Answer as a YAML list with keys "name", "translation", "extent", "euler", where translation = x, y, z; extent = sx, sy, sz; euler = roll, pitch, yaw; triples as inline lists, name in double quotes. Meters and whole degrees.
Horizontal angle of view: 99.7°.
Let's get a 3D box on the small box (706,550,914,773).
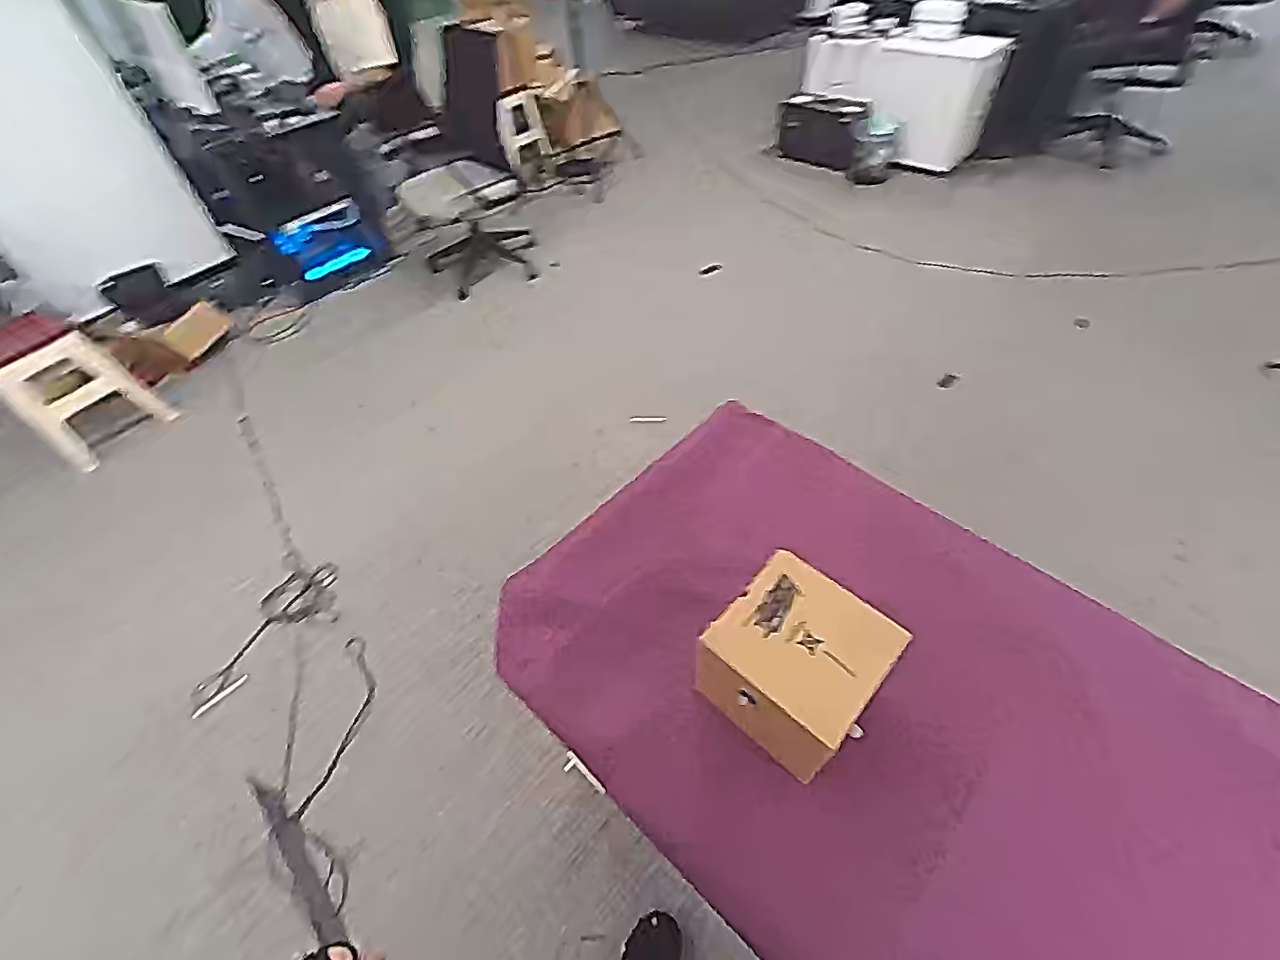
- name: "small box"
  translation: [0.196, 0.227, 0.673]
  extent: [0.179, 0.176, 0.168]
  euler: [35, 62, 29]
